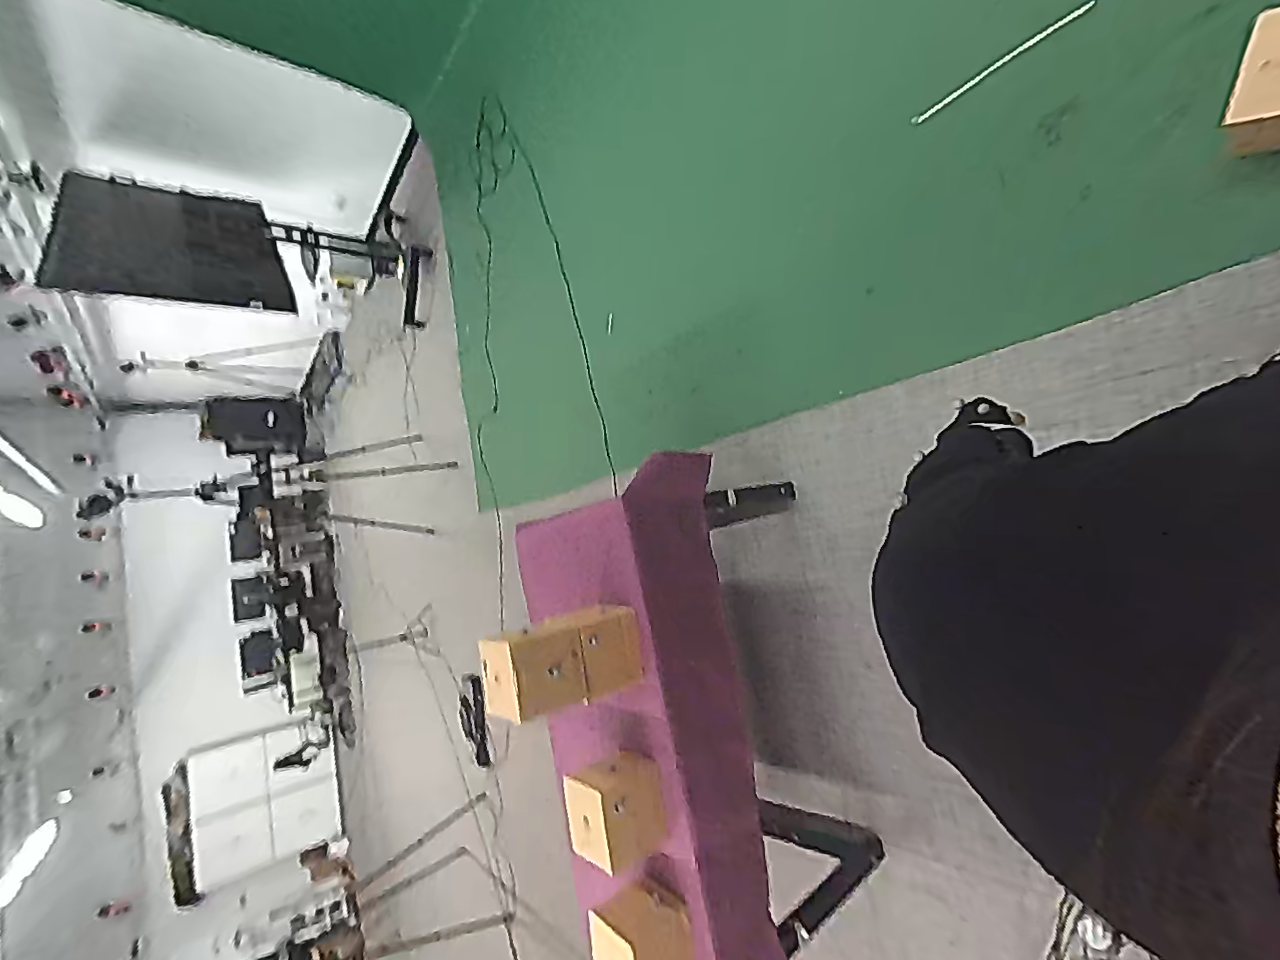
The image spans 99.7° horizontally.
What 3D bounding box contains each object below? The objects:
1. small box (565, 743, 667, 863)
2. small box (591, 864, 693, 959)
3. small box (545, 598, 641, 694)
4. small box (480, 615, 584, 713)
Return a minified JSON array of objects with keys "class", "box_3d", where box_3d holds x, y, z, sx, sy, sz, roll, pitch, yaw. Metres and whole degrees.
[{"class":"small box","box_3d":[-0.057,0.759,1.297,0.168,0.176,0.179,-16,81,51]},{"class":"small box","box_3d":[0.007,1.049,1.251,0.168,0.176,0.179,-10,86,50]},{"class":"small box","box_3d":[-0.112,0.399,1.327,0.168,0.176,0.179,-10,86,51]},{"class":"small box","box_3d":[-0.239,0.406,1.224,0.179,0.176,0.168,-16,81,50]}]
